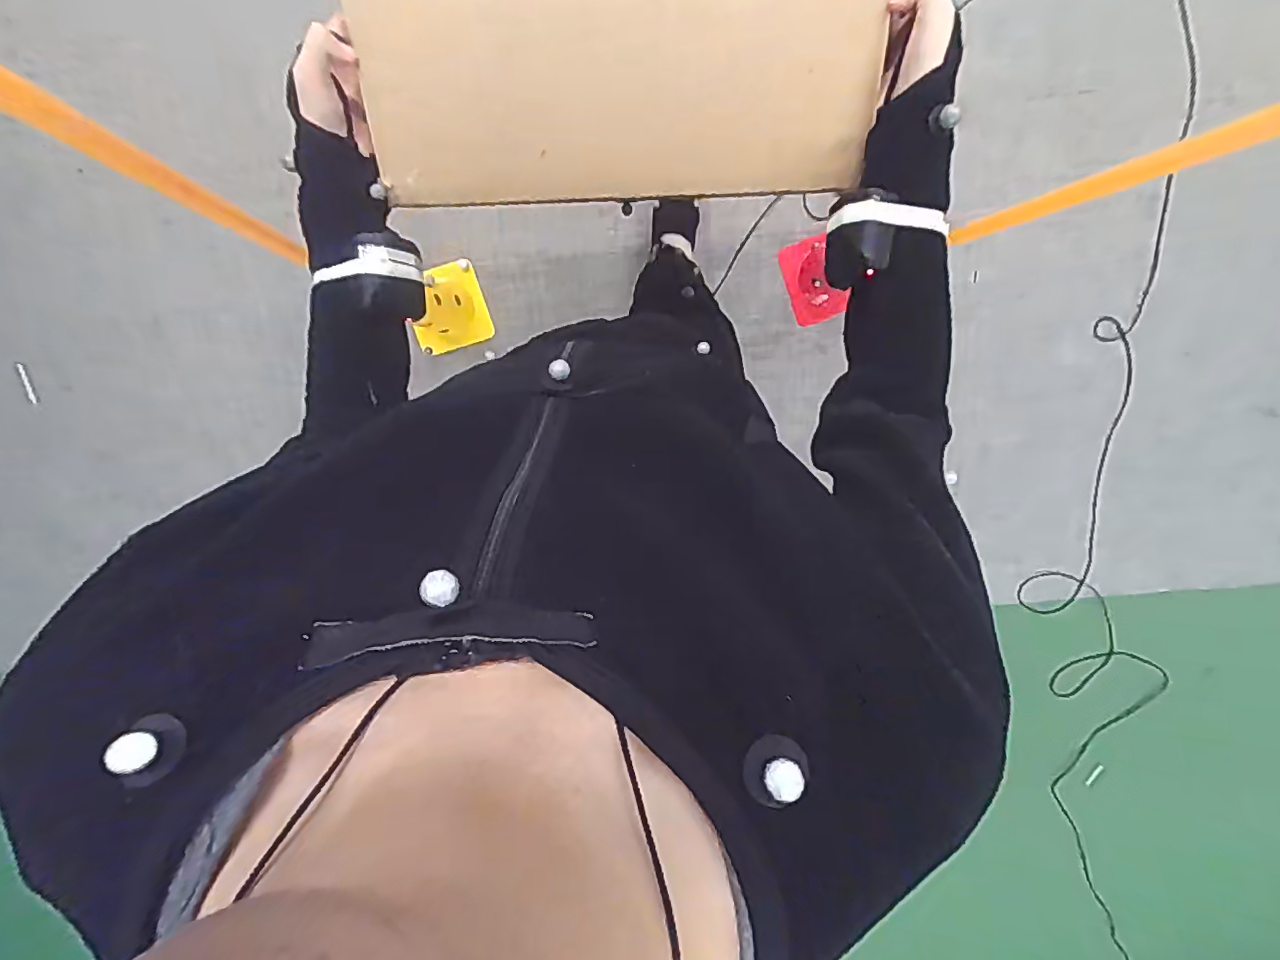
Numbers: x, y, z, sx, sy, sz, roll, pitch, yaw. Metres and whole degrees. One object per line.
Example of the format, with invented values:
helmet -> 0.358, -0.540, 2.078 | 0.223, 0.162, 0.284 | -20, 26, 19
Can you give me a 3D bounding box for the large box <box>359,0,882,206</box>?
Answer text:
large box -> -0.015, -0.454, 0.529 | 0.408, 0.320, 0.320 | -2, 117, 0
